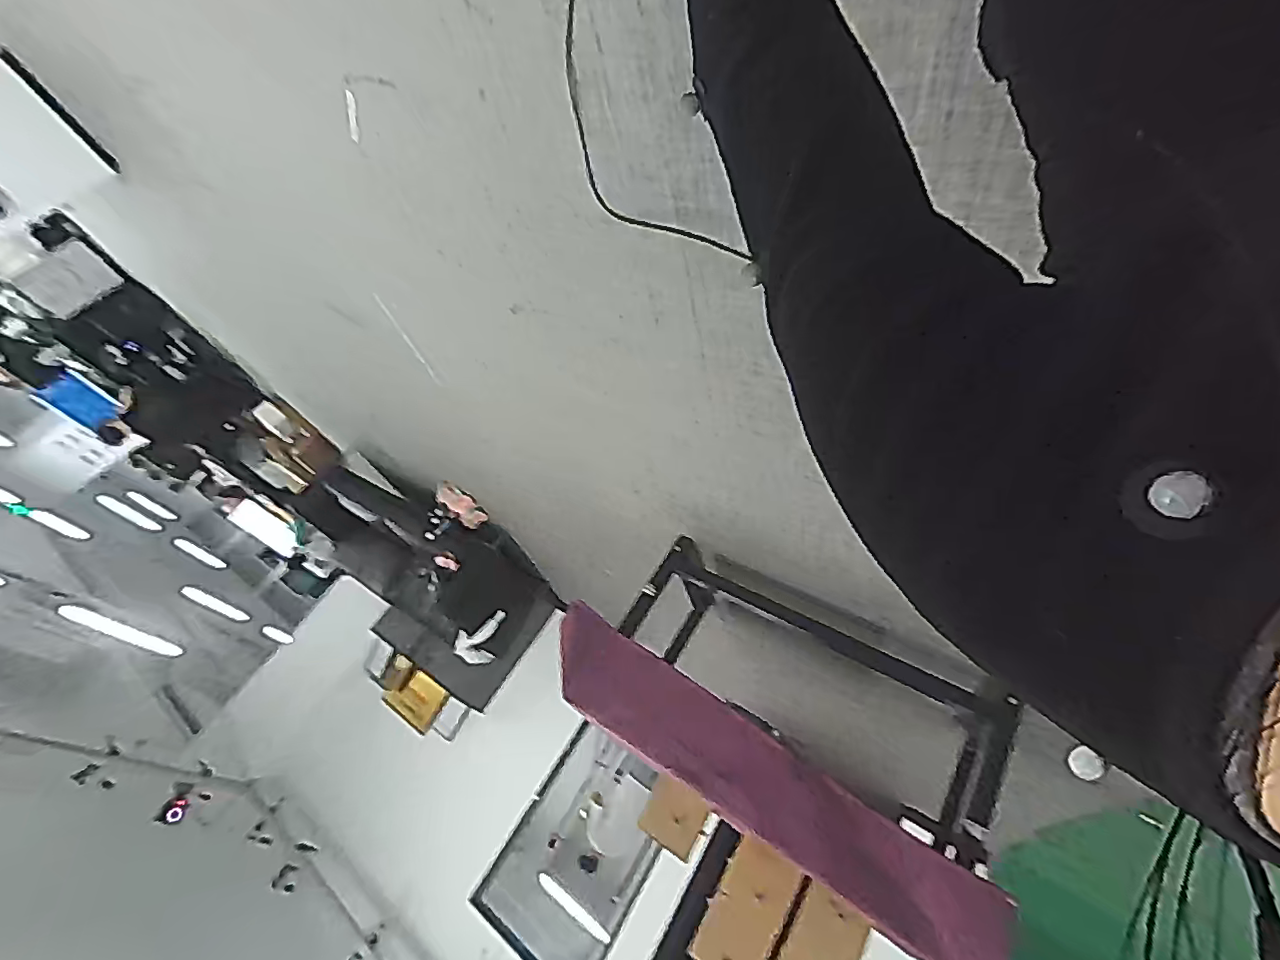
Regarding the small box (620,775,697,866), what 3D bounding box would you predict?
[{"bbox_3d":[0.064,1.031,1.645,0.179,0.176,0.168,25,152,22],"label":"small box"}]
